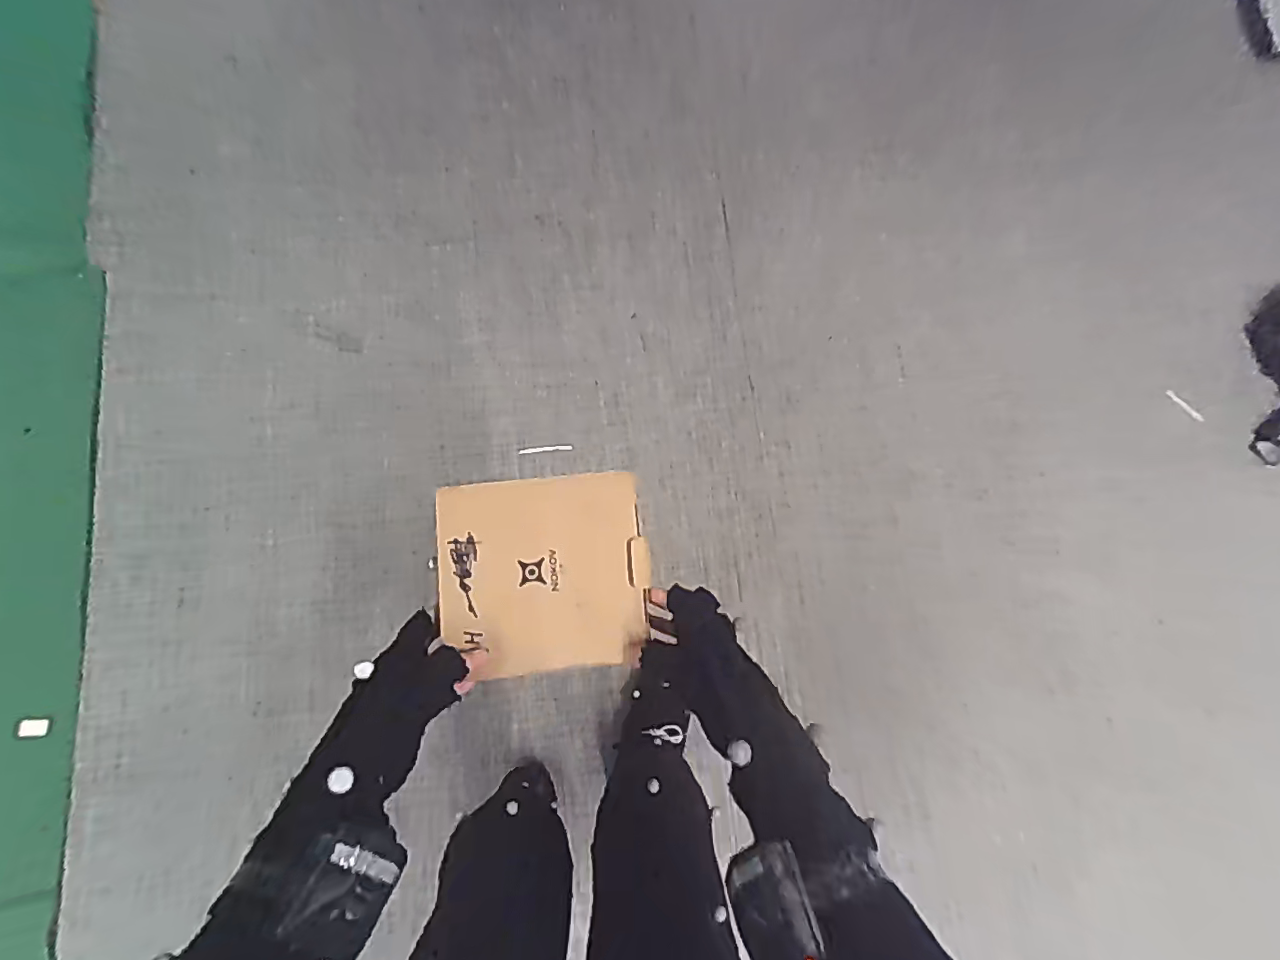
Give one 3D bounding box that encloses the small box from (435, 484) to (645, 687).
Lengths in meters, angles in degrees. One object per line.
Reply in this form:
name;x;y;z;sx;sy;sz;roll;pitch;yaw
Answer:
small box;-0.095;0.102;0.549;0.179;0.176;0.168;-5;79;-5
